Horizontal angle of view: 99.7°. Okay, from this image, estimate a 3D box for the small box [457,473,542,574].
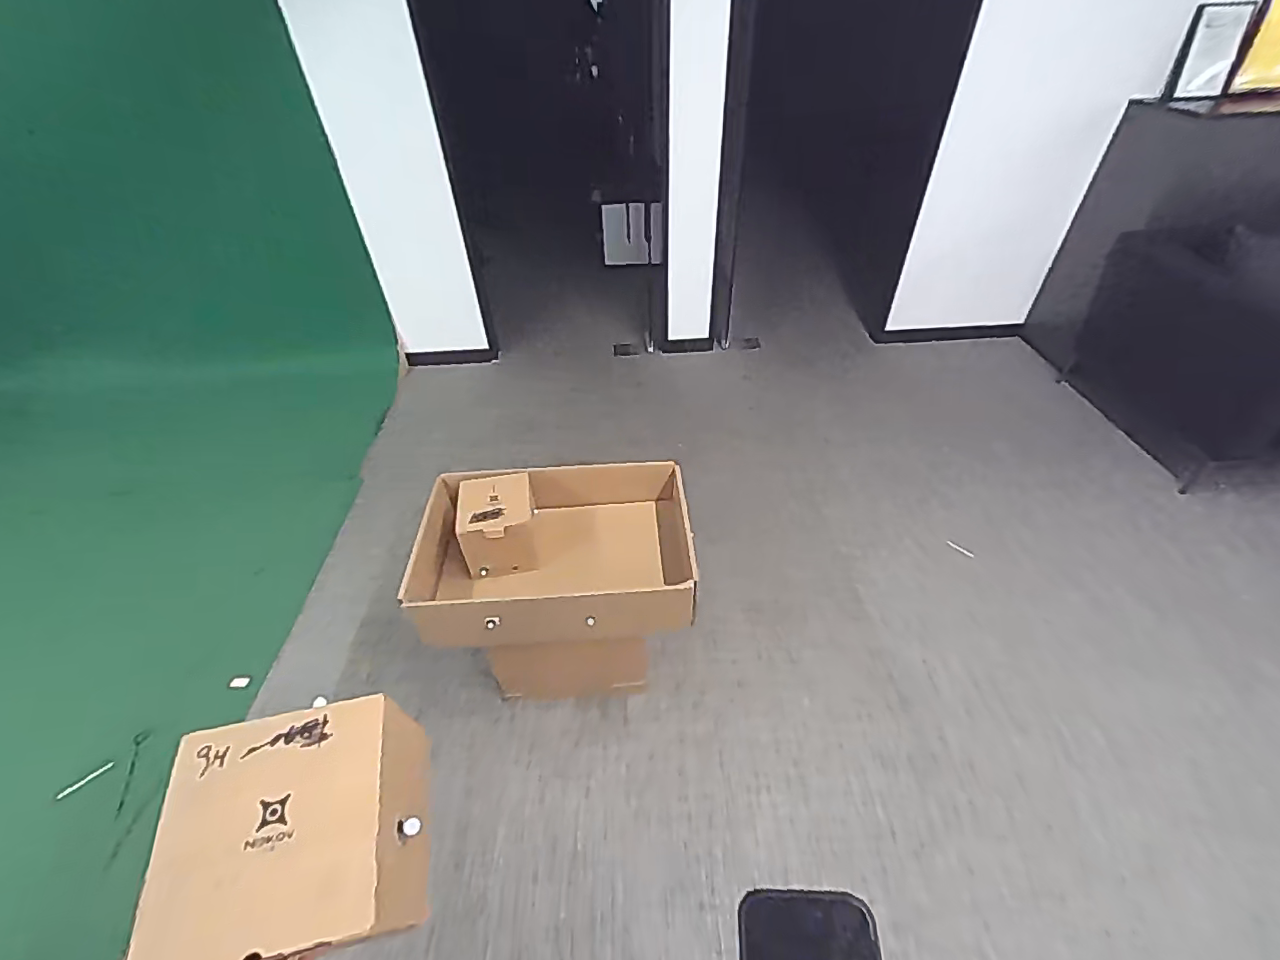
[{"bbox_3d":[-0.333,0.110,1.306,0.168,0.176,0.179,-8,42,-7],"label":"small box"}]

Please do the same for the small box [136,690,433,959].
[{"bbox_3d":[-0.295,0.318,0.499,0.168,0.176,0.179,-8,54,-10],"label":"small box"}]
